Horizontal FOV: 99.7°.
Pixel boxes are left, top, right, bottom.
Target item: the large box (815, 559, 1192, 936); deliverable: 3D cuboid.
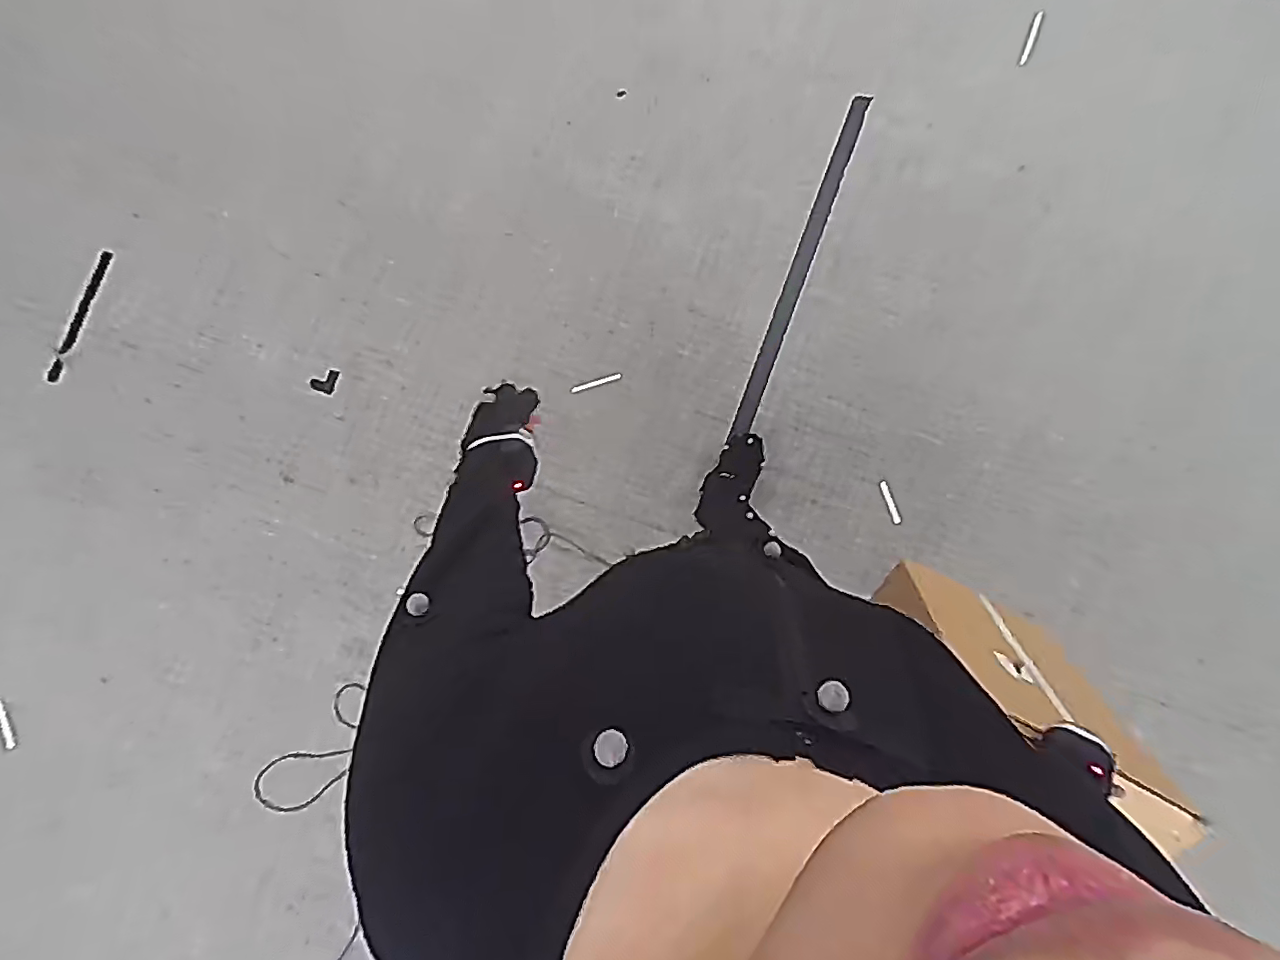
[{"bbox_3d":[0.525,0.405,0.909,0.320,0.408,0.320,27,112,4],"label":"large box"}]
